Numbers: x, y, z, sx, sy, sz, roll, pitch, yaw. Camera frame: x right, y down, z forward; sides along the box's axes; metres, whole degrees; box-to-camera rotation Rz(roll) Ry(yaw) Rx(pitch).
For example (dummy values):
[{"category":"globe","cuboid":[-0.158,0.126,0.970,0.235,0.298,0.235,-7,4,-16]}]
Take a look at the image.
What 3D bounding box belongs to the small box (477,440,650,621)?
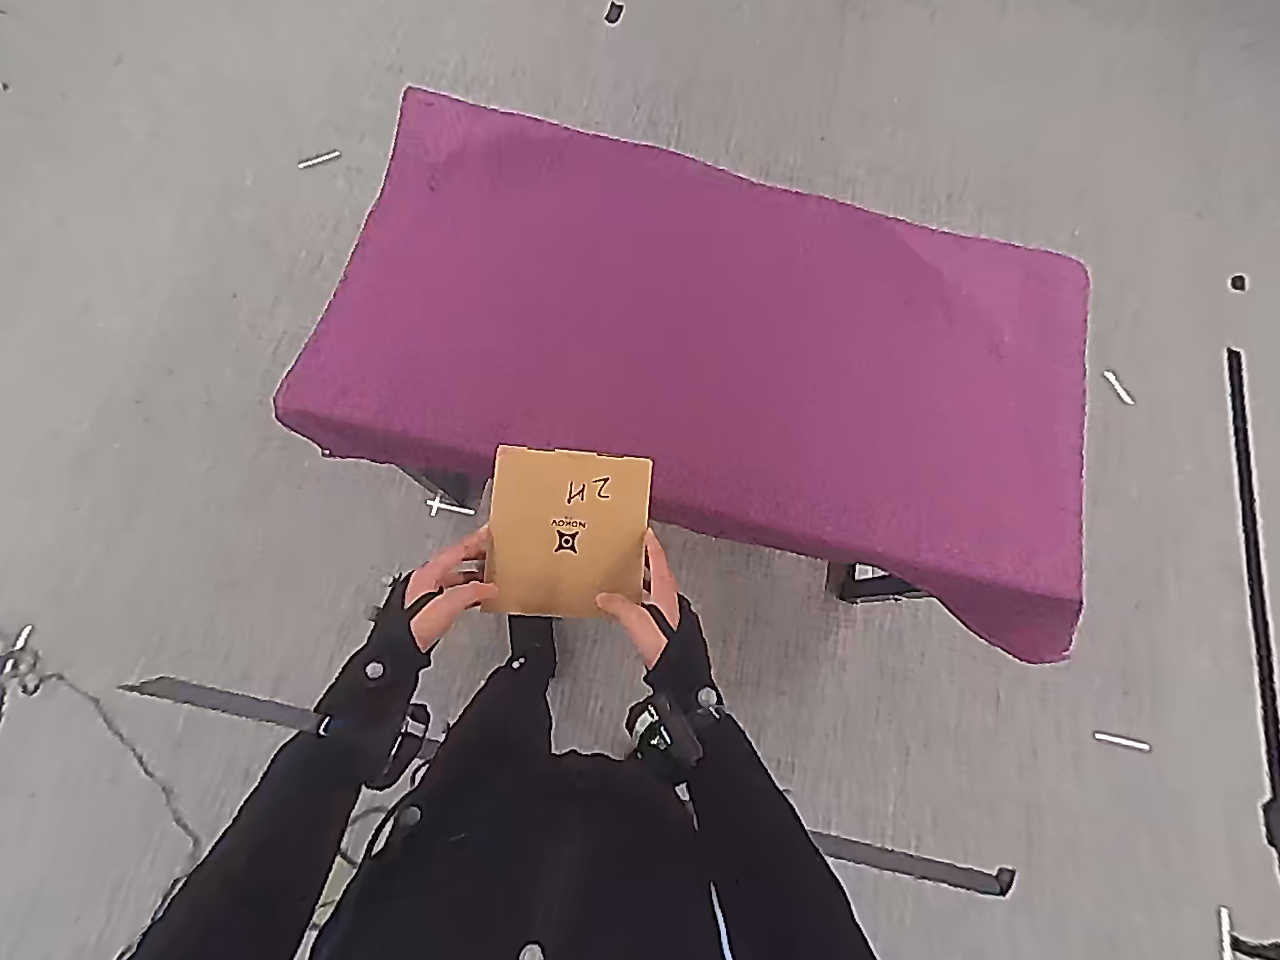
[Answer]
[{"category":"small box","cuboid":[-0.084,0.060,0.641,0.168,0.176,0.179,6,83,-5]}]
